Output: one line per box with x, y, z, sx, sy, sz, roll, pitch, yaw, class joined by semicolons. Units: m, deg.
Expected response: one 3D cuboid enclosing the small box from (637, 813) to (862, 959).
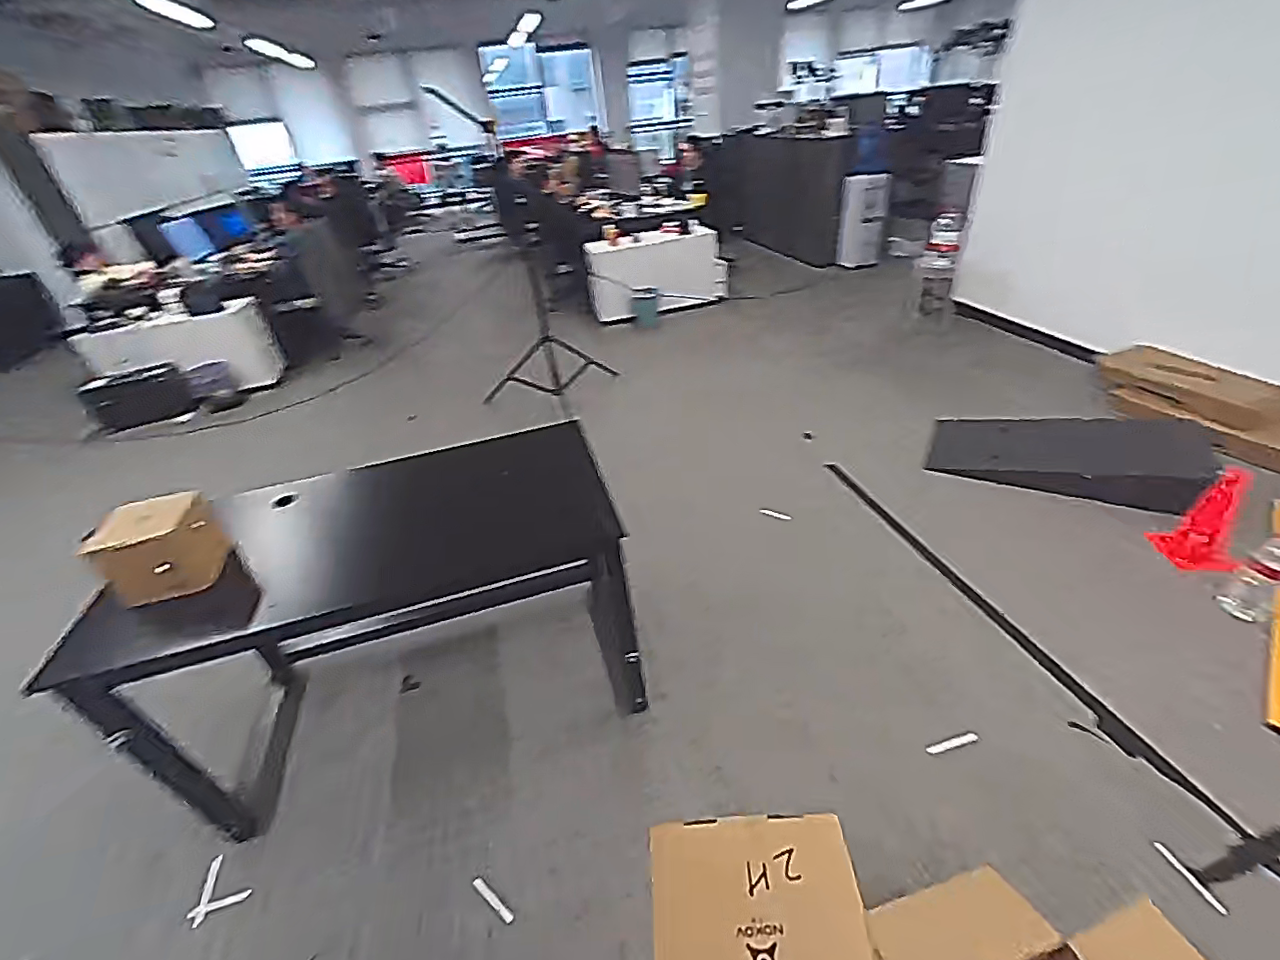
0.088;0.412;0.458;0.168;0.176;0.179;-5;41;0;small box

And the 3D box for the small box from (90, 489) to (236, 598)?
-1.077;0.151;1.243;0.168;0.176;0.179;-13;34;-11;small box
